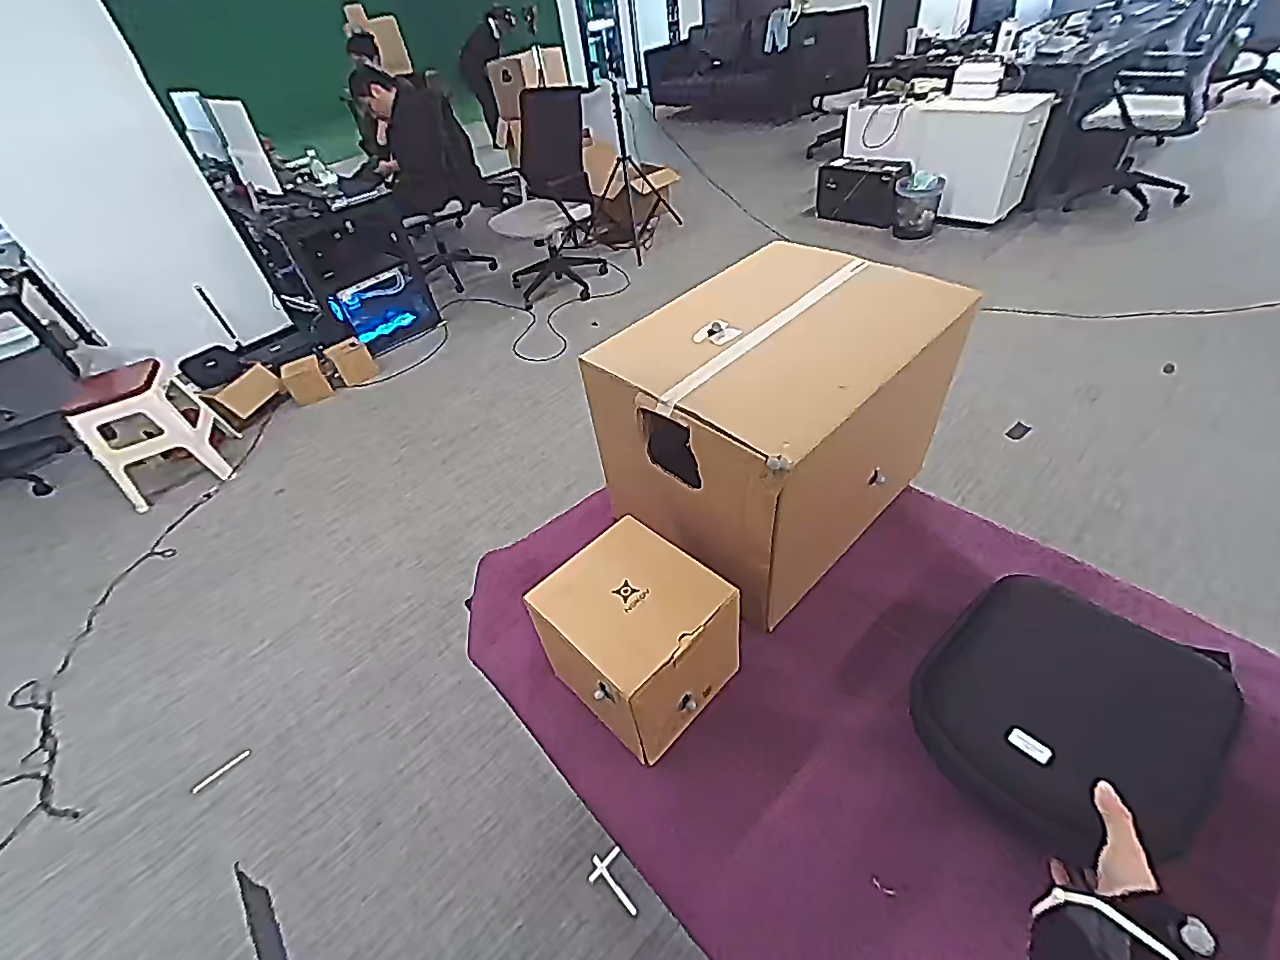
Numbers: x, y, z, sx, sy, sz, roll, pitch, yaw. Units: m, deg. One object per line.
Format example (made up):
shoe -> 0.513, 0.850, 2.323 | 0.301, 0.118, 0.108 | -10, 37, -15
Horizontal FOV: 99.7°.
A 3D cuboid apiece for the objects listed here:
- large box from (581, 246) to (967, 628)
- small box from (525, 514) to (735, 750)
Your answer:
large box -> 0.186, -0.079, 0.778 | 0.408, 0.320, 0.320 | -39, 52, -25
small box -> -0.007, 0.179, 0.645 | 0.179, 0.176, 0.168 | 31, 55, 34
